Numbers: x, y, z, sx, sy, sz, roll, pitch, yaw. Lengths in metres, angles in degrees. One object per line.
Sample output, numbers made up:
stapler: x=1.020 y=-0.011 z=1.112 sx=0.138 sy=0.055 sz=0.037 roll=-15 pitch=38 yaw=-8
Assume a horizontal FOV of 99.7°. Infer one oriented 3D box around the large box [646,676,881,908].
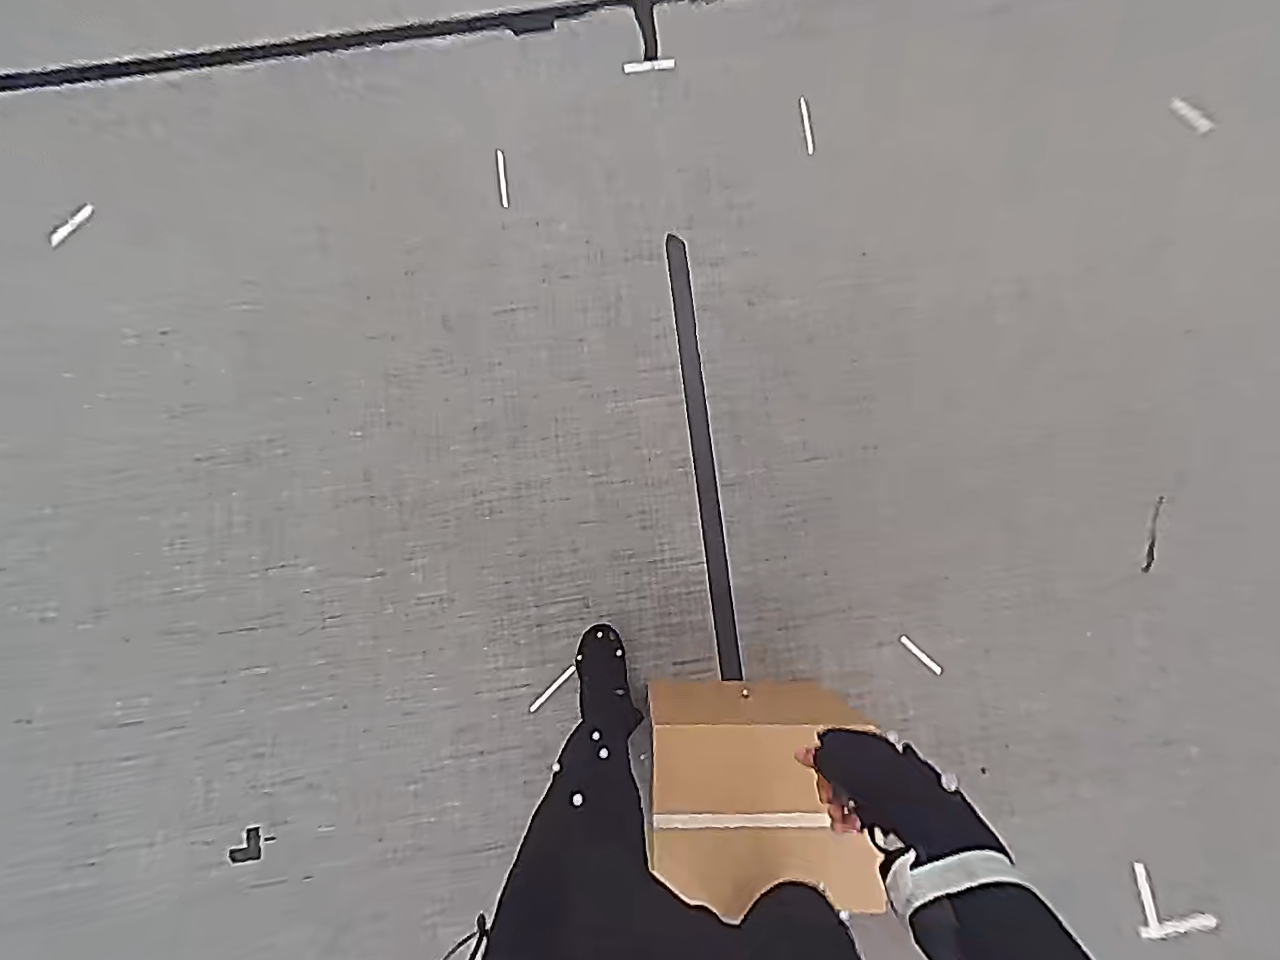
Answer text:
large box: x=0.220 y=0.600 z=1.100 sx=0.408 sy=0.320 sz=0.320 roll=0 pitch=84 yaw=-1
